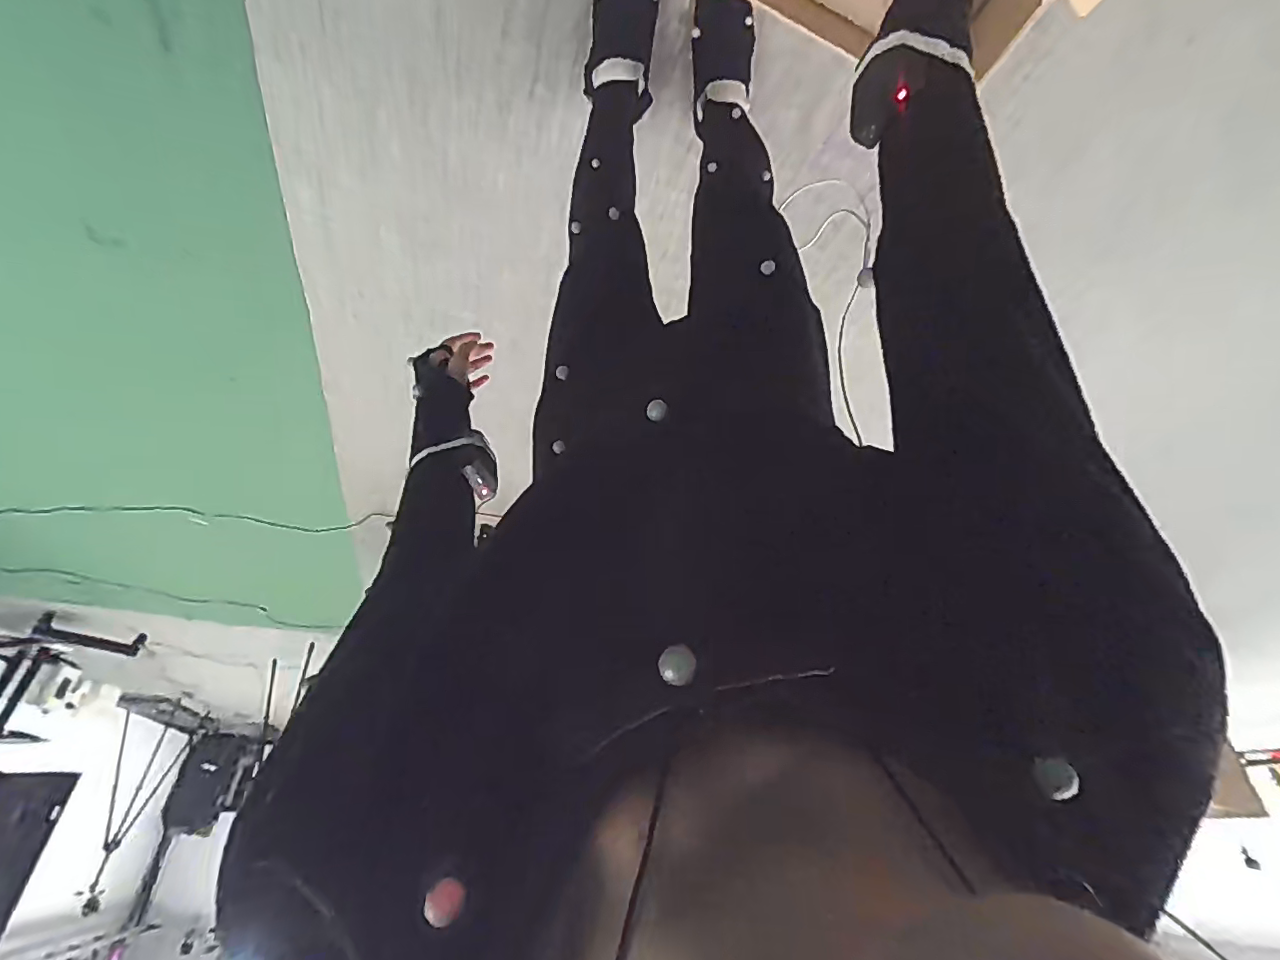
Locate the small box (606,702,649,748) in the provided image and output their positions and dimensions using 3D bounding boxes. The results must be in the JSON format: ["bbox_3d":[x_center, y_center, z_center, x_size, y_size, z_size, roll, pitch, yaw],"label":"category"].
[{"bbox_3d":[-0.056,1.123,2.481,0.168,0.176,0.179,10,147,-11],"label":"small box"}]
